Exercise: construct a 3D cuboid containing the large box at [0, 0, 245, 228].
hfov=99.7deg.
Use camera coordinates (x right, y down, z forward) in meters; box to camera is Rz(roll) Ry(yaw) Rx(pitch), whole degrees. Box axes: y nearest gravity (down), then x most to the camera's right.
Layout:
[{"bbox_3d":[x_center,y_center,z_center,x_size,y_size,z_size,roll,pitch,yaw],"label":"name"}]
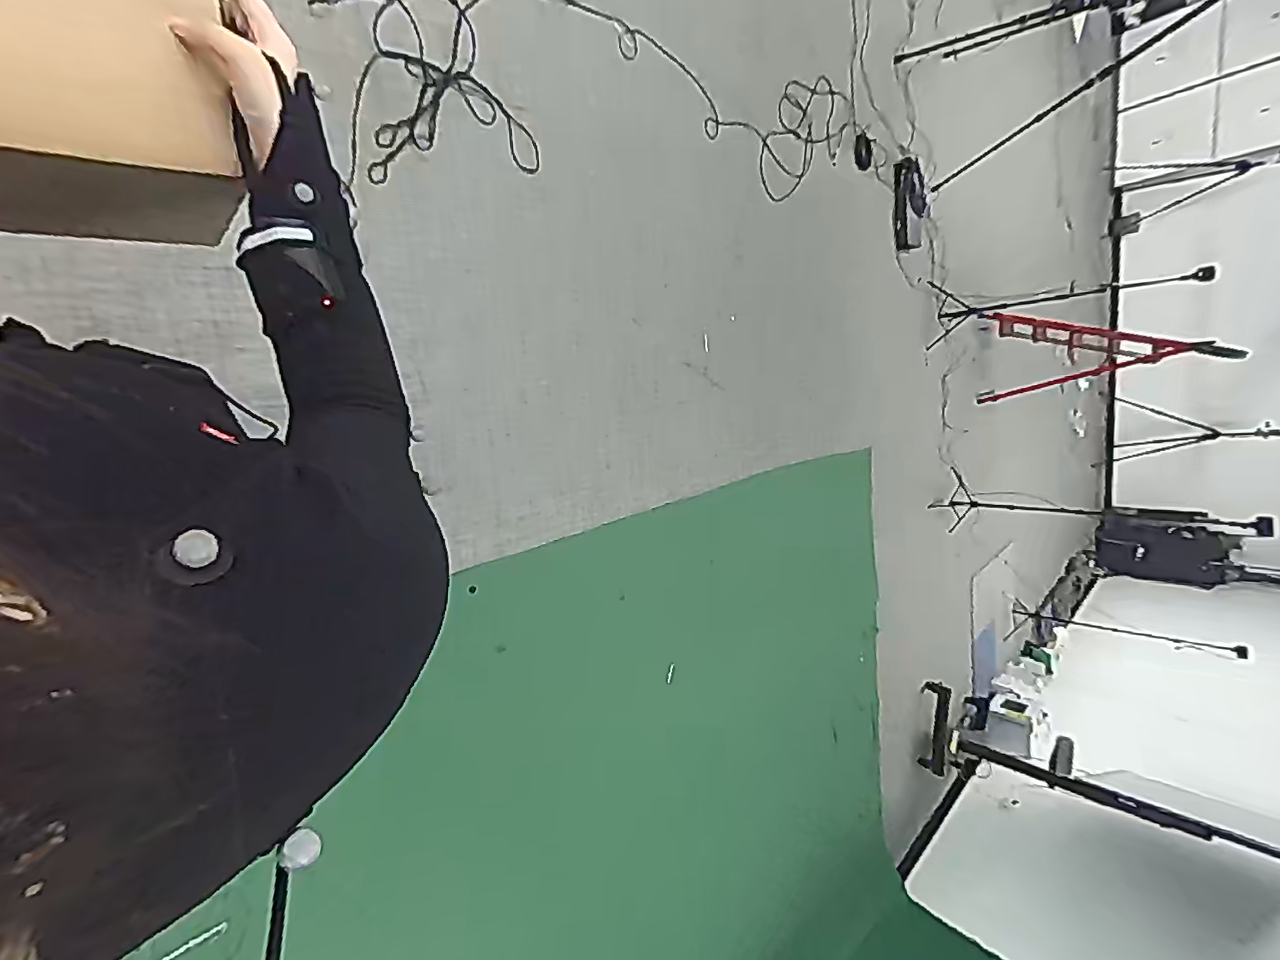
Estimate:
[{"bbox_3d":[-0.567,-0.377,0.380,0.408,0.320,0.320,-15,108,-38],"label":"large box"}]
